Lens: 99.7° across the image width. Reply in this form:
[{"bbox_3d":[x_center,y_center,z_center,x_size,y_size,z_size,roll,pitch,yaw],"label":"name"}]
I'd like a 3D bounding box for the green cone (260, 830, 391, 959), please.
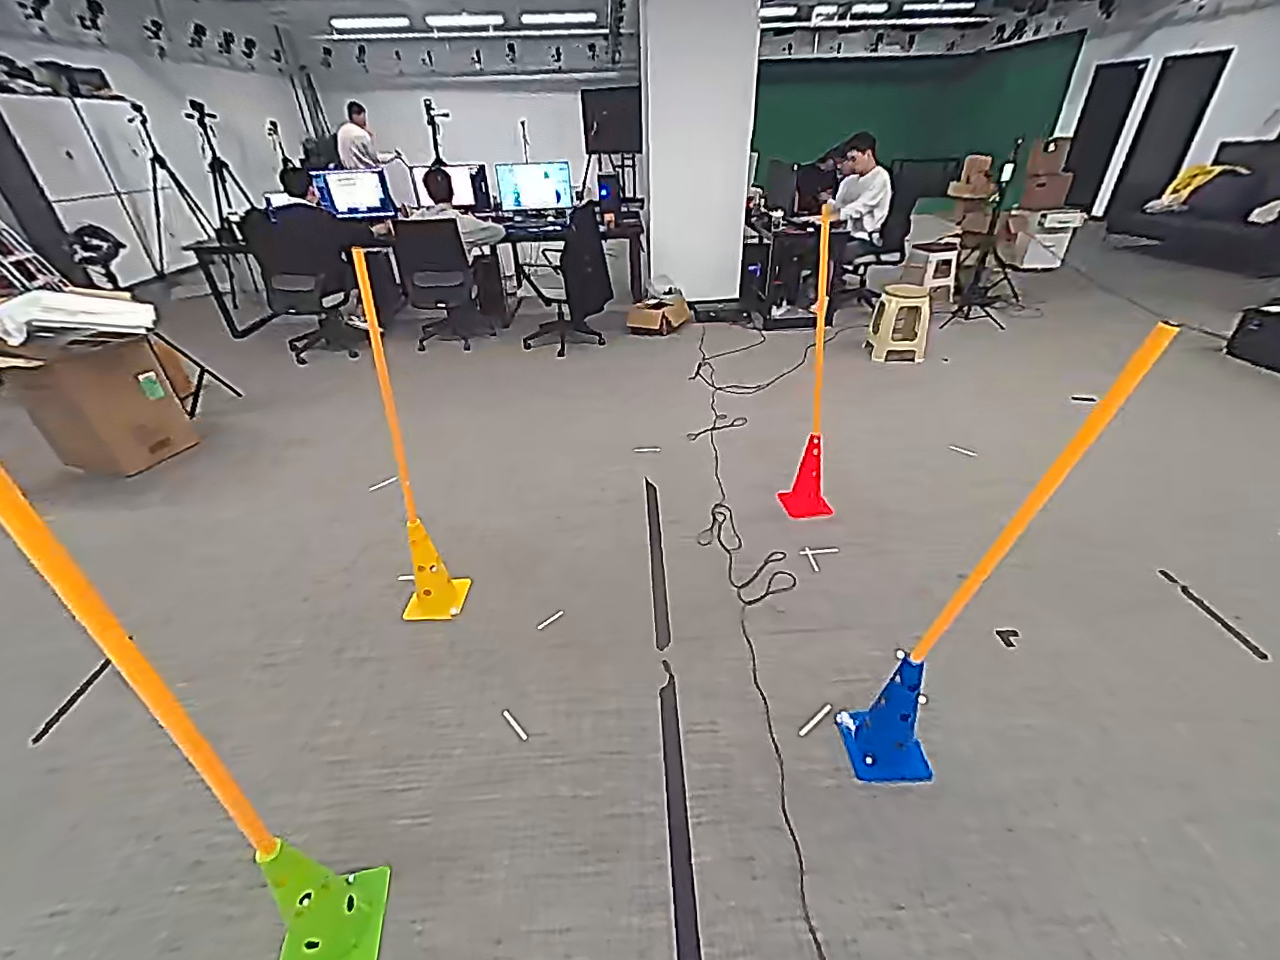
[{"bbox_3d":[-0.656,0.811,1.068,0.200,0.368,0.202,-8,31,-10],"label":"green cone"}]

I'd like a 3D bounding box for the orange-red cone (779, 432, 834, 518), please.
[{"bbox_3d":[0.725,-0.040,2.306,0.199,0.360,0.198,-7,32,-4],"label":"orange-red cone"}]

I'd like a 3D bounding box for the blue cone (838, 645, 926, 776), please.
[{"bbox_3d":[0.650,0.571,1.381,0.193,0.380,0.192,-1,32,2],"label":"blue cone"}]
